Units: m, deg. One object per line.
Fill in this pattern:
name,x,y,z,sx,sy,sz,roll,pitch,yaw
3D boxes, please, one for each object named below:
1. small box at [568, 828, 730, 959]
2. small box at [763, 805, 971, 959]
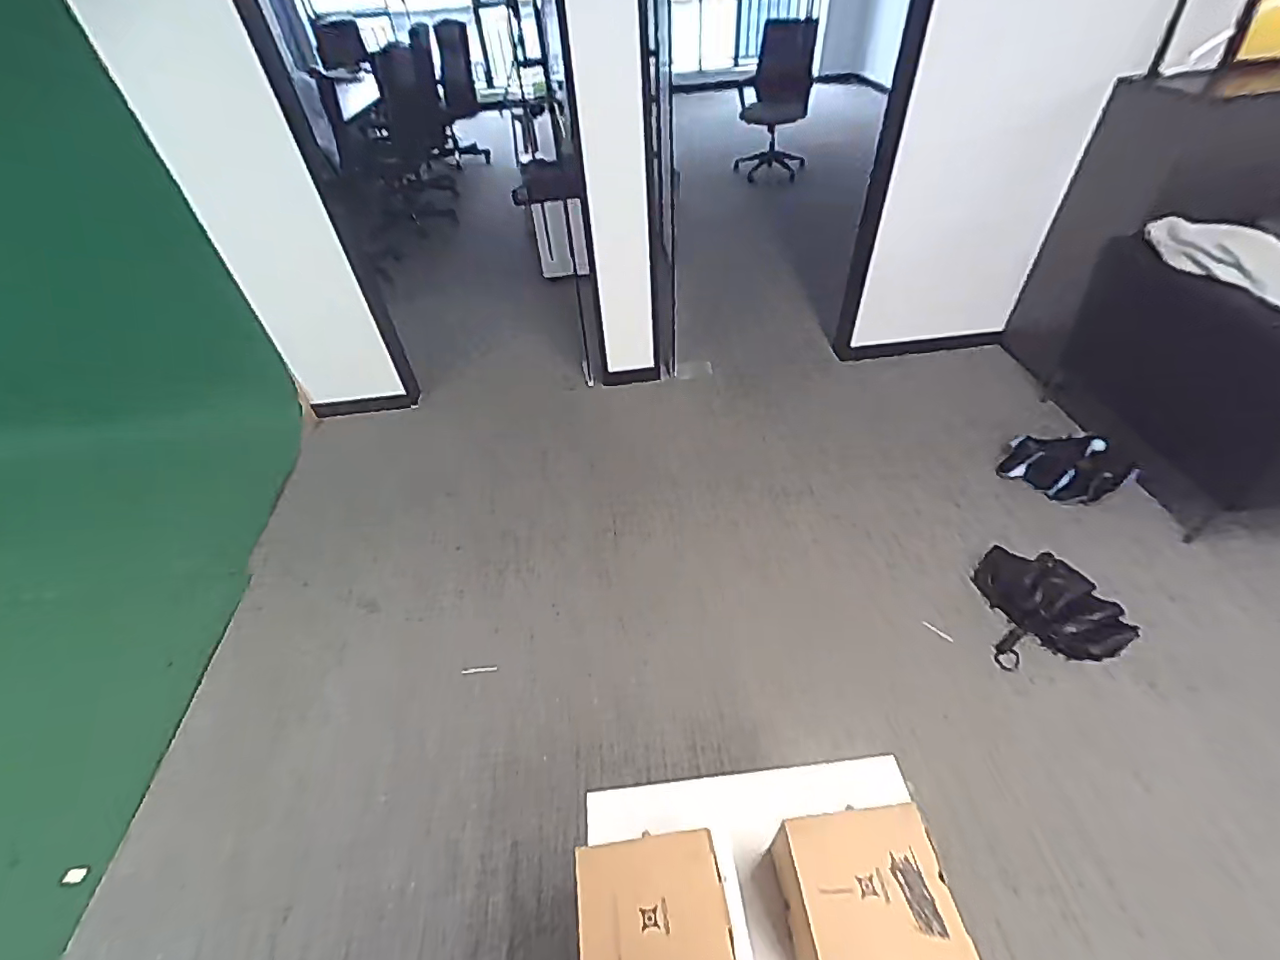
small box,0.007,0.560,0.672,0.179,0.176,0.168,-7,44,-5
small box,0.269,0.536,0.689,0.179,0.176,0.168,-5,44,-3
